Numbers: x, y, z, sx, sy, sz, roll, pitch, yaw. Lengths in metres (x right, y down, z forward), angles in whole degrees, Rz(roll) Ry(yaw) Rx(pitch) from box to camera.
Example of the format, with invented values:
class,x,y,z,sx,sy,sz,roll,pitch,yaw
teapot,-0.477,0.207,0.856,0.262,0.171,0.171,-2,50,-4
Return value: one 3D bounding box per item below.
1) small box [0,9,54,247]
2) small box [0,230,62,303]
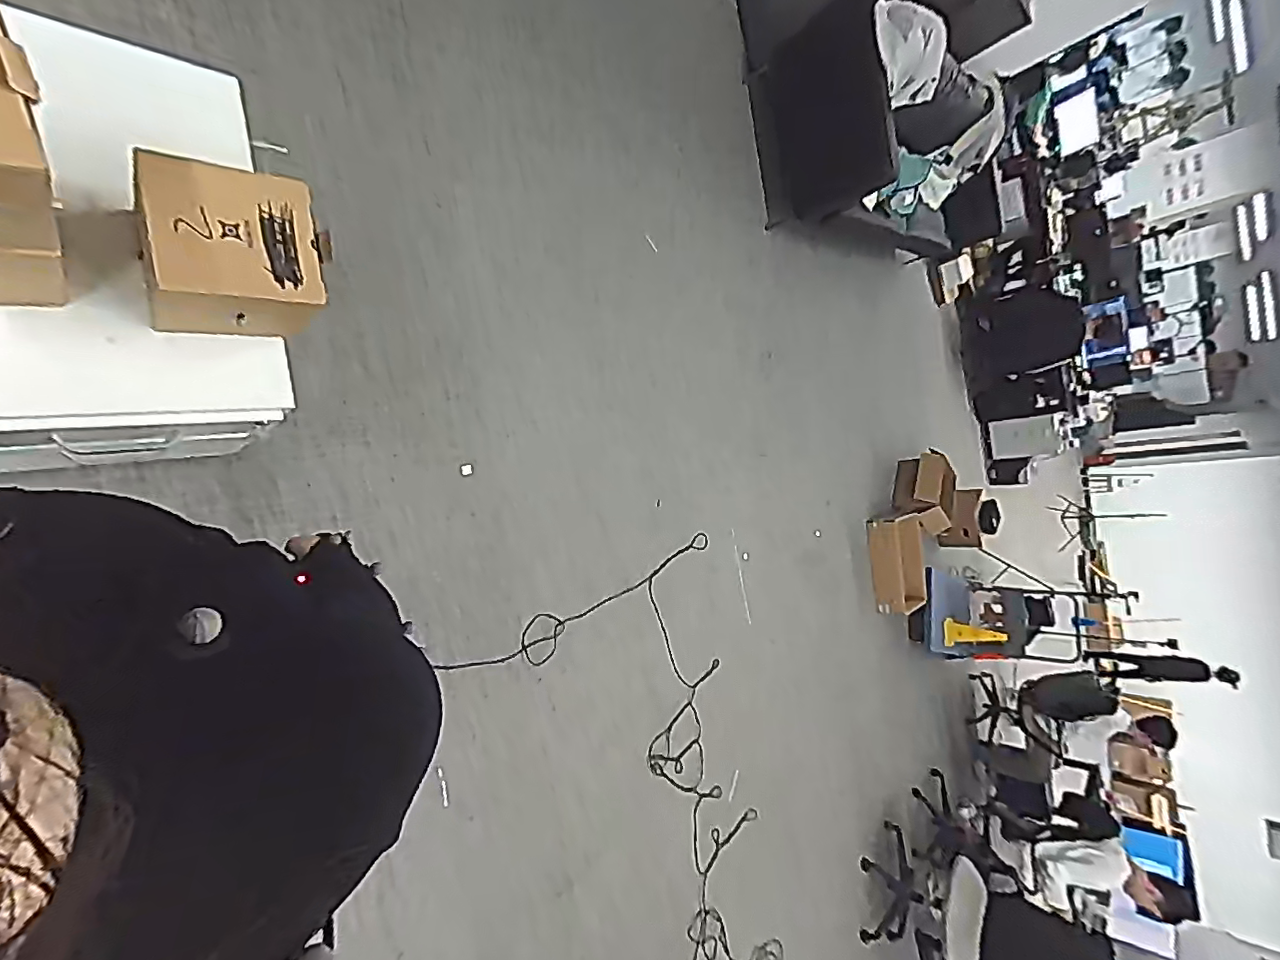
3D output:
class,x,y,z,sx,sy,sz,roll,pitch,yaw
small box,-0.621,-0.304,0.436,0.179,0.176,0.168,-19,98,-45
small box,-0.737,-0.287,0.550,0.179,0.176,0.168,-16,97,-45
